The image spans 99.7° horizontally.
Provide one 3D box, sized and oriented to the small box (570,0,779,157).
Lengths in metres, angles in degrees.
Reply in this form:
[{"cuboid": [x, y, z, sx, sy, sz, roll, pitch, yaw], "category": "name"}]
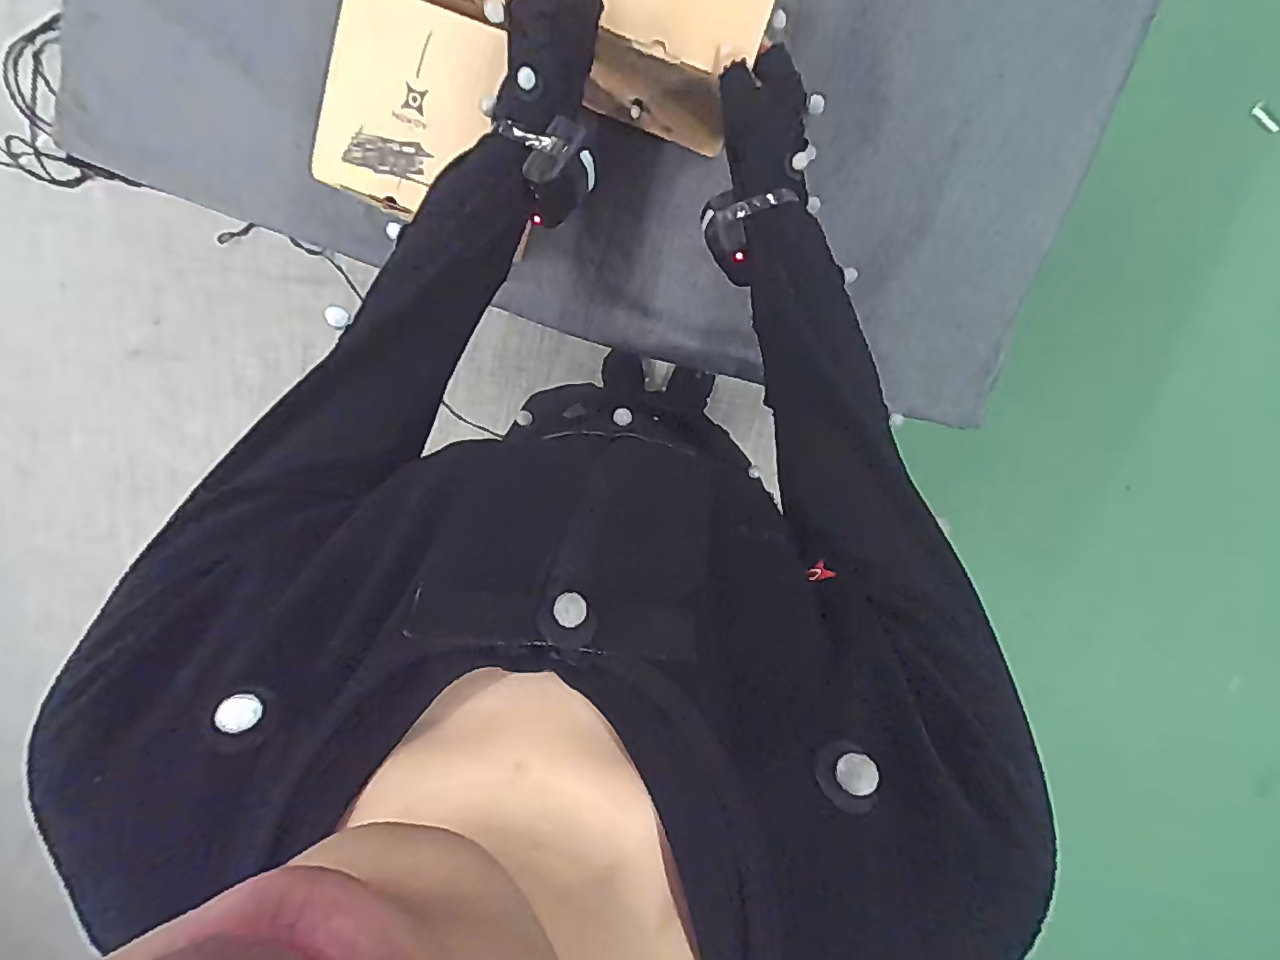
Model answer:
[{"cuboid": [0.041, -0.458, 0.525, 0.168, 0.176, 0.179, 19, 101, -5], "category": "small box"}]
